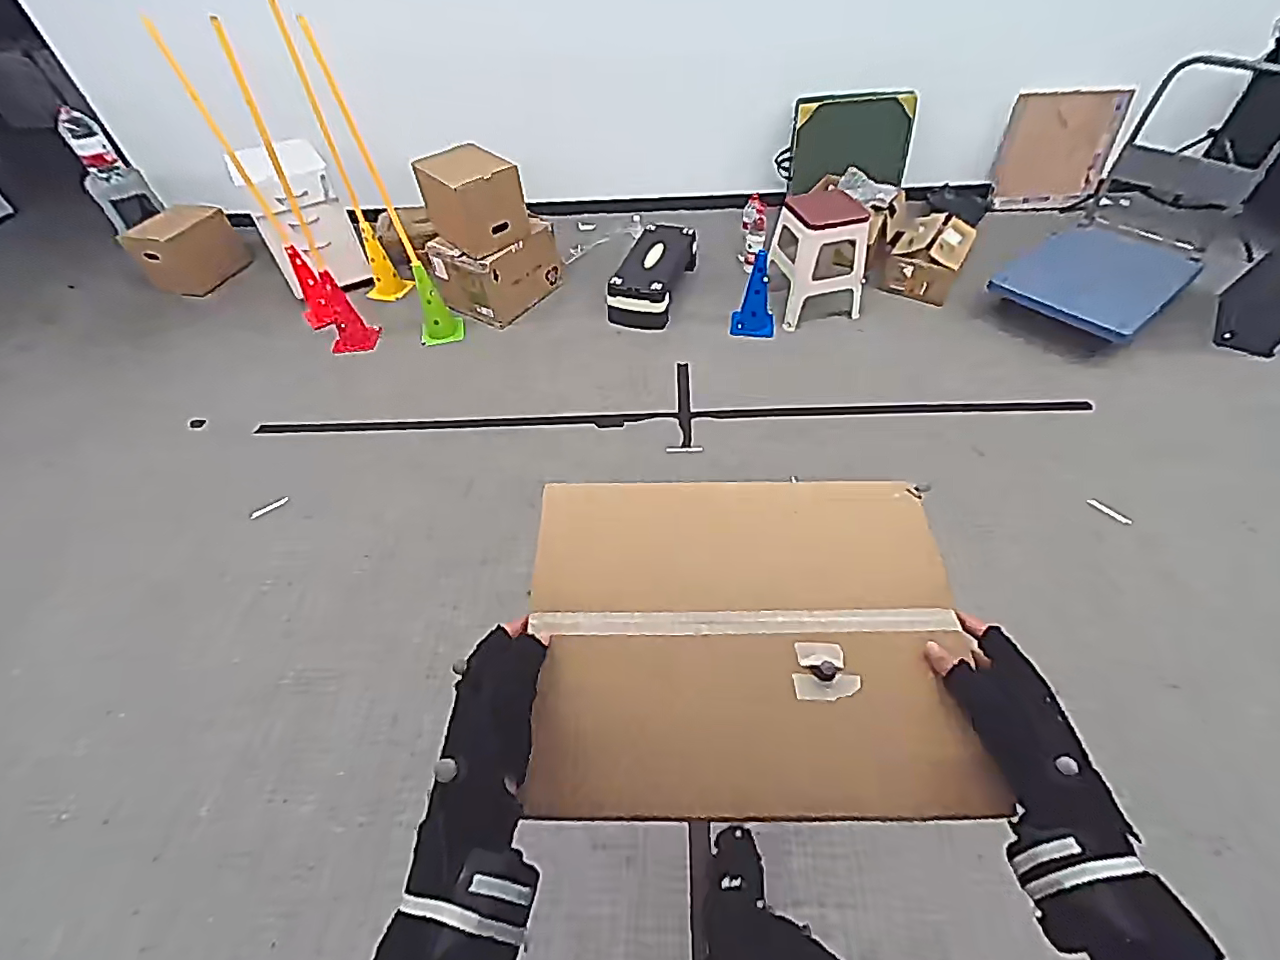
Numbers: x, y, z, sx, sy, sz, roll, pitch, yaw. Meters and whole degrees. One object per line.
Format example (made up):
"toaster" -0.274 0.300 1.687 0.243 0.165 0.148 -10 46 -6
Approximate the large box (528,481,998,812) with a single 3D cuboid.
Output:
"large box" 0.099 0.213 0.652 0.408 0.320 0.320 0 59 0
